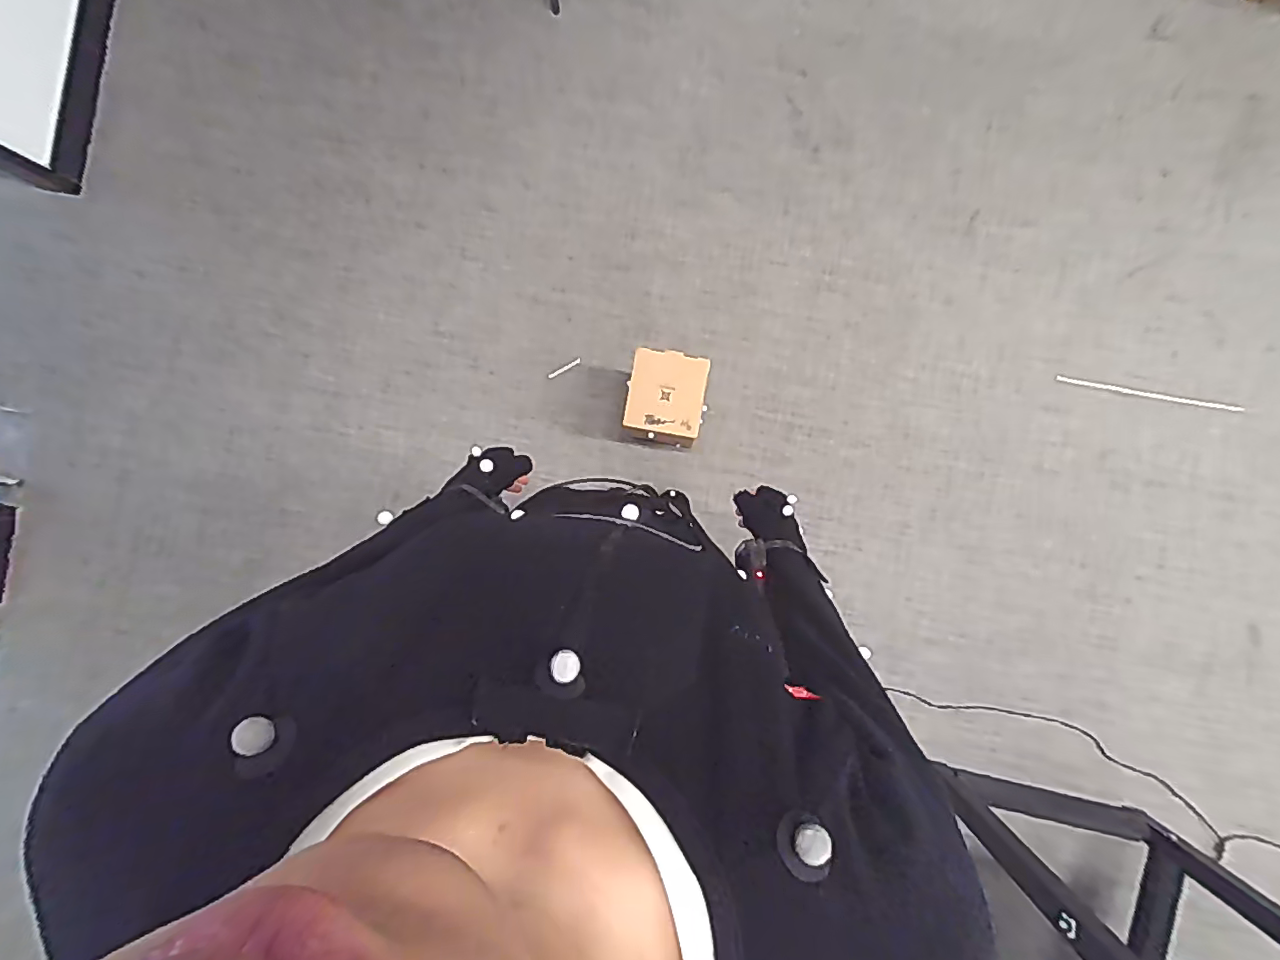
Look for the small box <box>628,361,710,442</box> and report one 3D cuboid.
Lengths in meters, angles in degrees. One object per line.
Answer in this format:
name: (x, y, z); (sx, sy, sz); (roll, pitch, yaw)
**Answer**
small box: (0.074, -0.196, 1.403); (0.179, 0.176, 0.168); (11, 90, 2)
